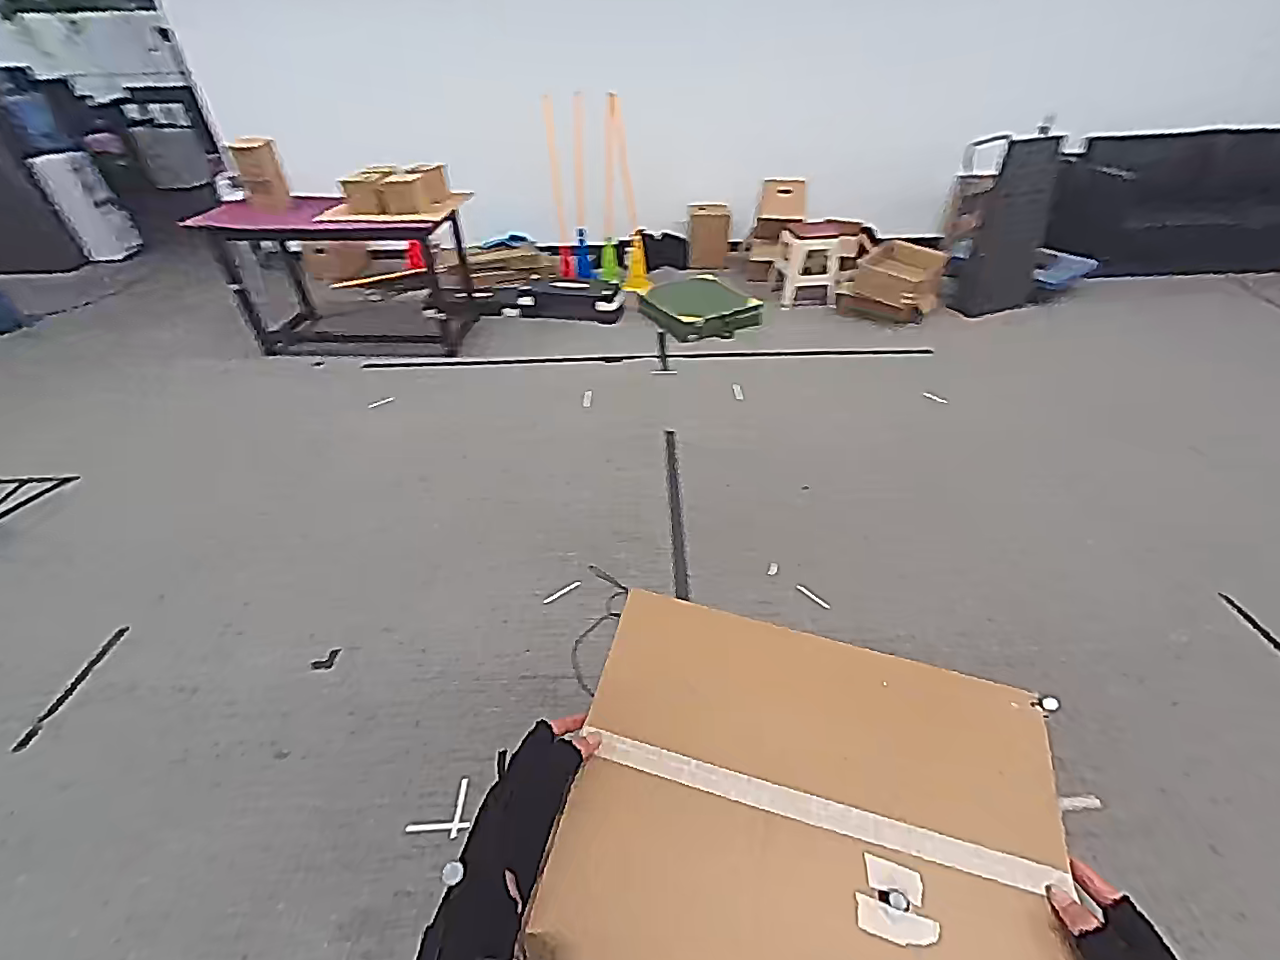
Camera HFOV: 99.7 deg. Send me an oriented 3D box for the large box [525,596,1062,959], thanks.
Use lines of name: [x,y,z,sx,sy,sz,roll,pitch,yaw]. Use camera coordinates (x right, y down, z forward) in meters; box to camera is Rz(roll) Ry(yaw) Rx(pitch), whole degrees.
large box: [0.135,0.372,0.584,0.408,0.320,0.320,13,52,8]
